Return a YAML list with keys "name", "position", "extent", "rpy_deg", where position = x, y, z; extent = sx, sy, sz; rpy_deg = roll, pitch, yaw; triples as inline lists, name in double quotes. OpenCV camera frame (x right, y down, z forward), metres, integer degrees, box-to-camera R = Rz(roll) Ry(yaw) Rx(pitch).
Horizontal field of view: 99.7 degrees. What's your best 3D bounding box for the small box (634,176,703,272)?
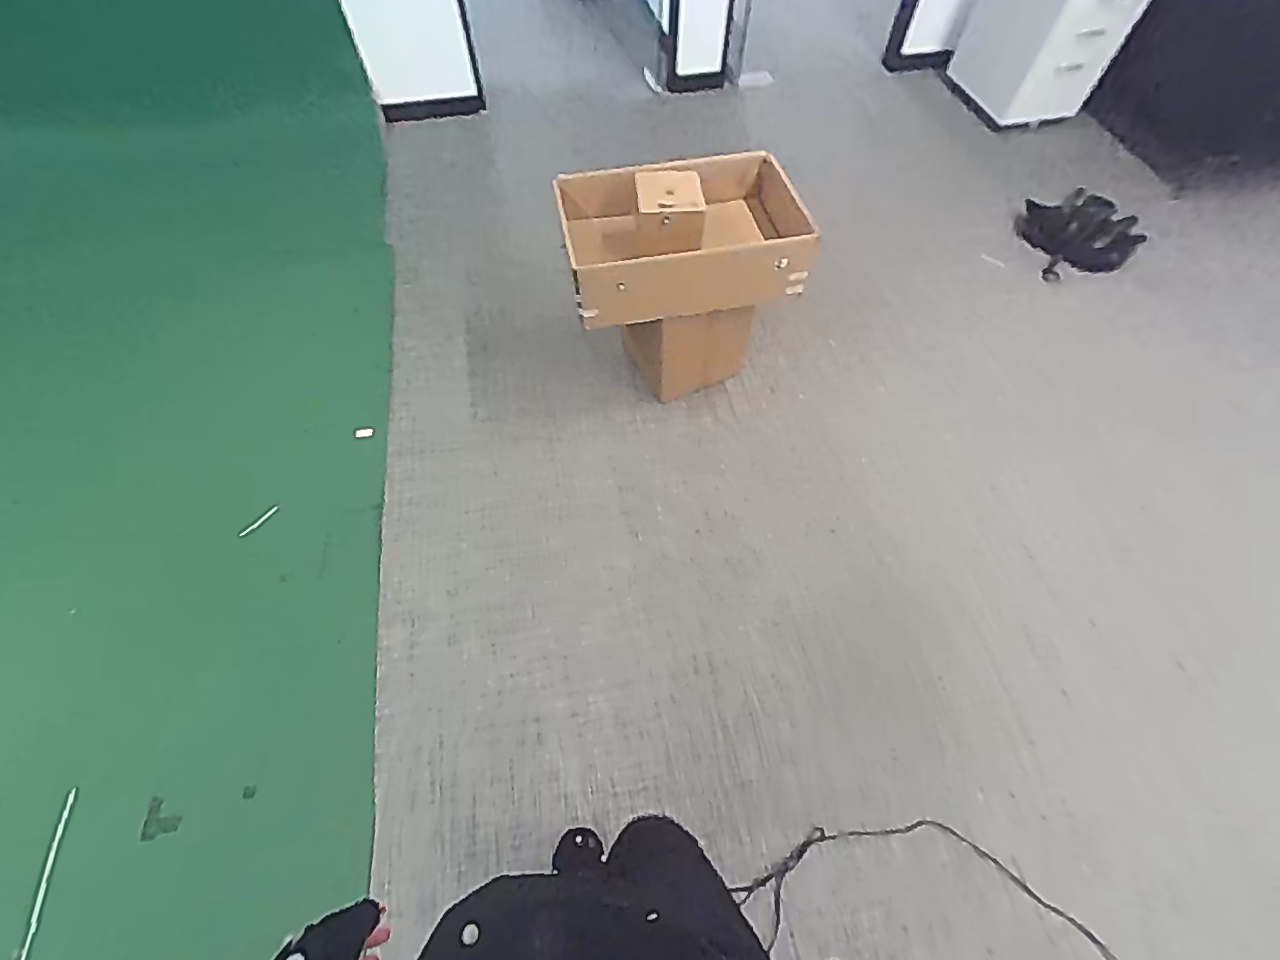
- name: "small box"
  position: [0.070, -0.682, 1.444]
  extent: [0.168, 0.176, 0.179]
  rpy_deg: [-4, 58, -2]
